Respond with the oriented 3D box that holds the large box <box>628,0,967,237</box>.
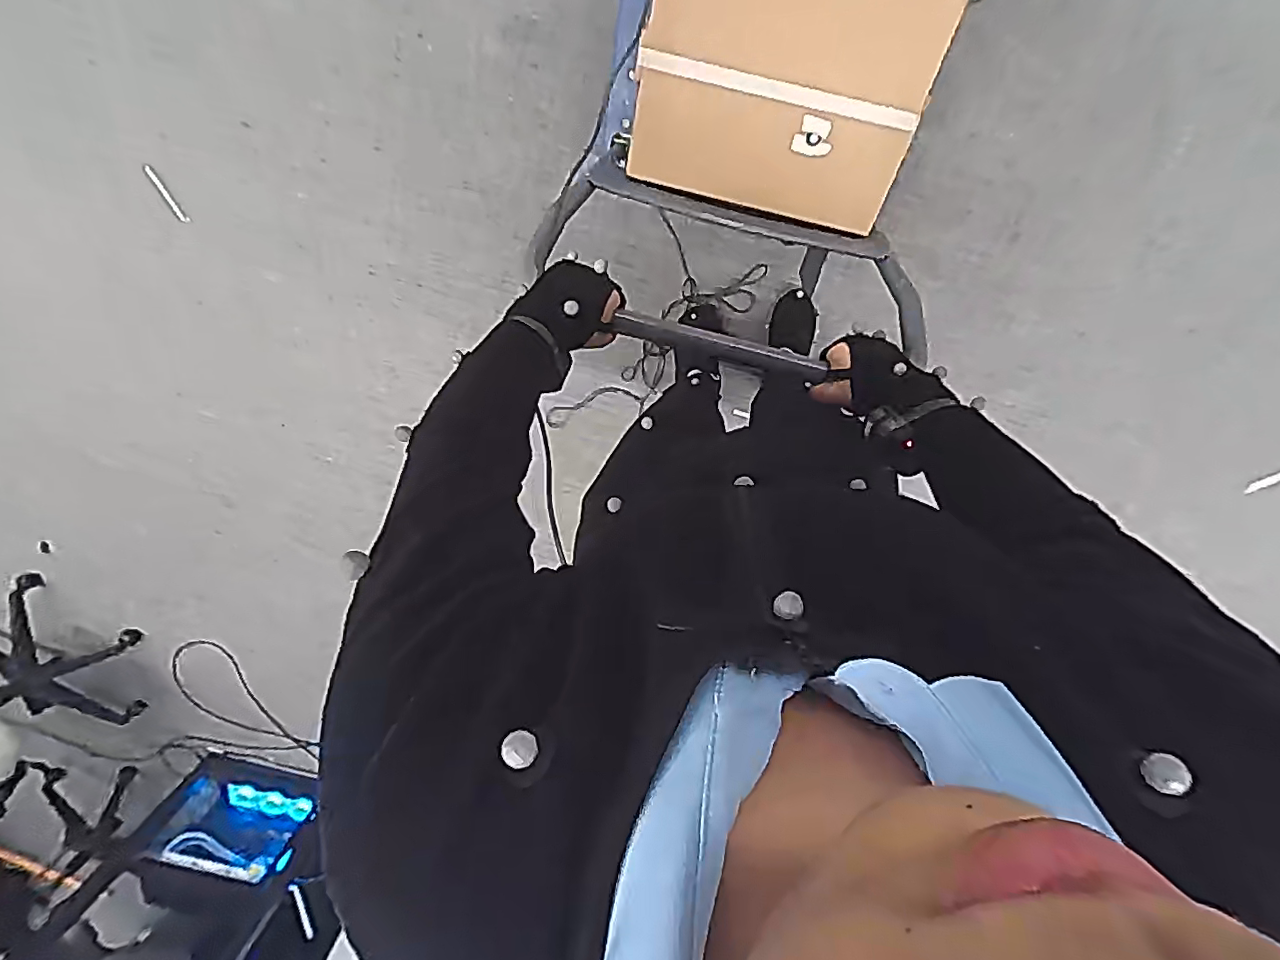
[{"bbox_3d":[0.216,-0.634,0.891,0.408,0.320,0.320,13,128,-1],"label":"large box"}]
